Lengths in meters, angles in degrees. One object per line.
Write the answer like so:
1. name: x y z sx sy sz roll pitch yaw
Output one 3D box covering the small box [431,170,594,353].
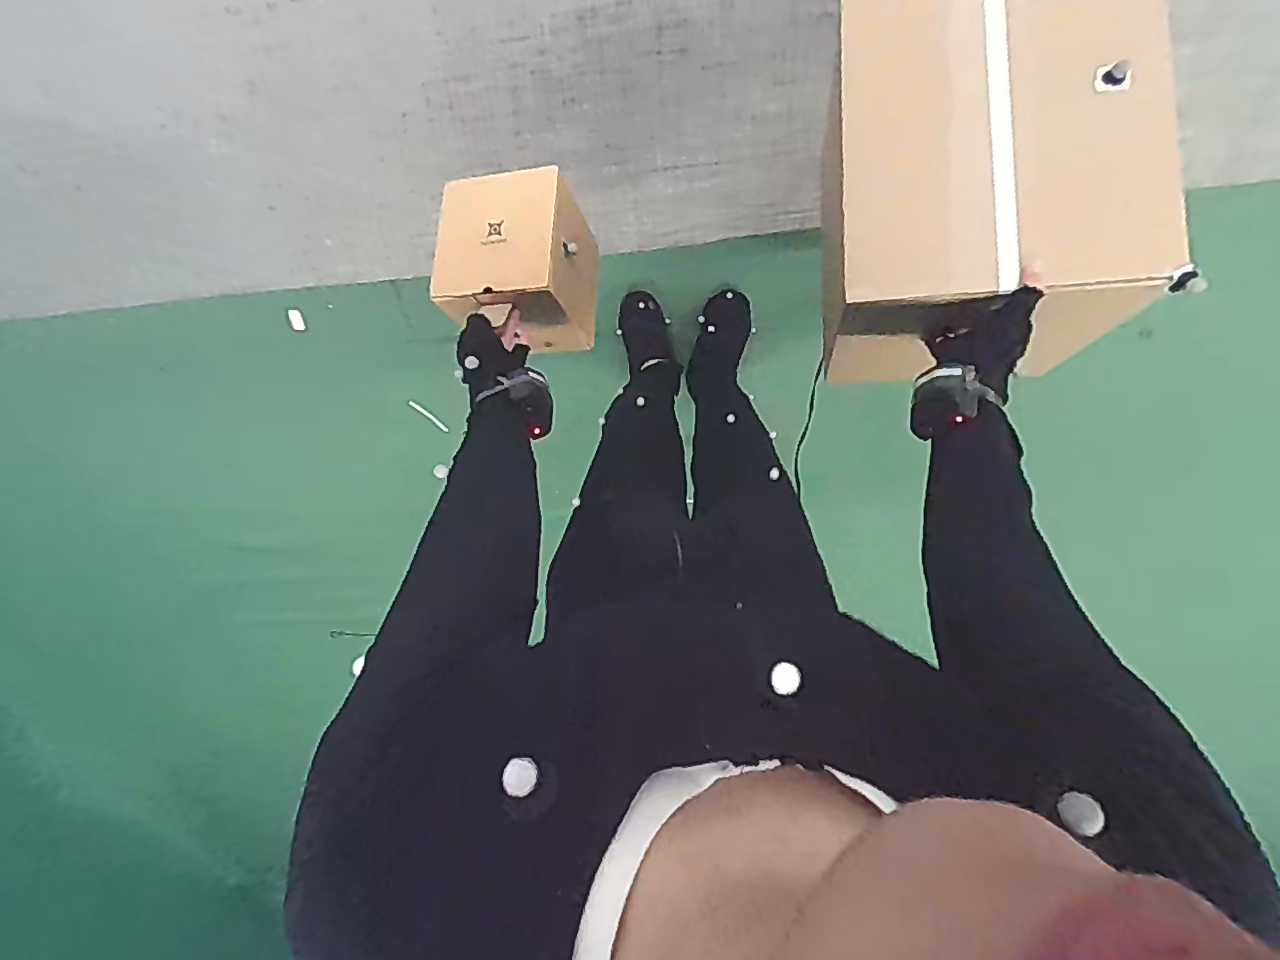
1. small box: -0.170 -0.301 0.777 0.168 0.176 0.179 -1 78 14
